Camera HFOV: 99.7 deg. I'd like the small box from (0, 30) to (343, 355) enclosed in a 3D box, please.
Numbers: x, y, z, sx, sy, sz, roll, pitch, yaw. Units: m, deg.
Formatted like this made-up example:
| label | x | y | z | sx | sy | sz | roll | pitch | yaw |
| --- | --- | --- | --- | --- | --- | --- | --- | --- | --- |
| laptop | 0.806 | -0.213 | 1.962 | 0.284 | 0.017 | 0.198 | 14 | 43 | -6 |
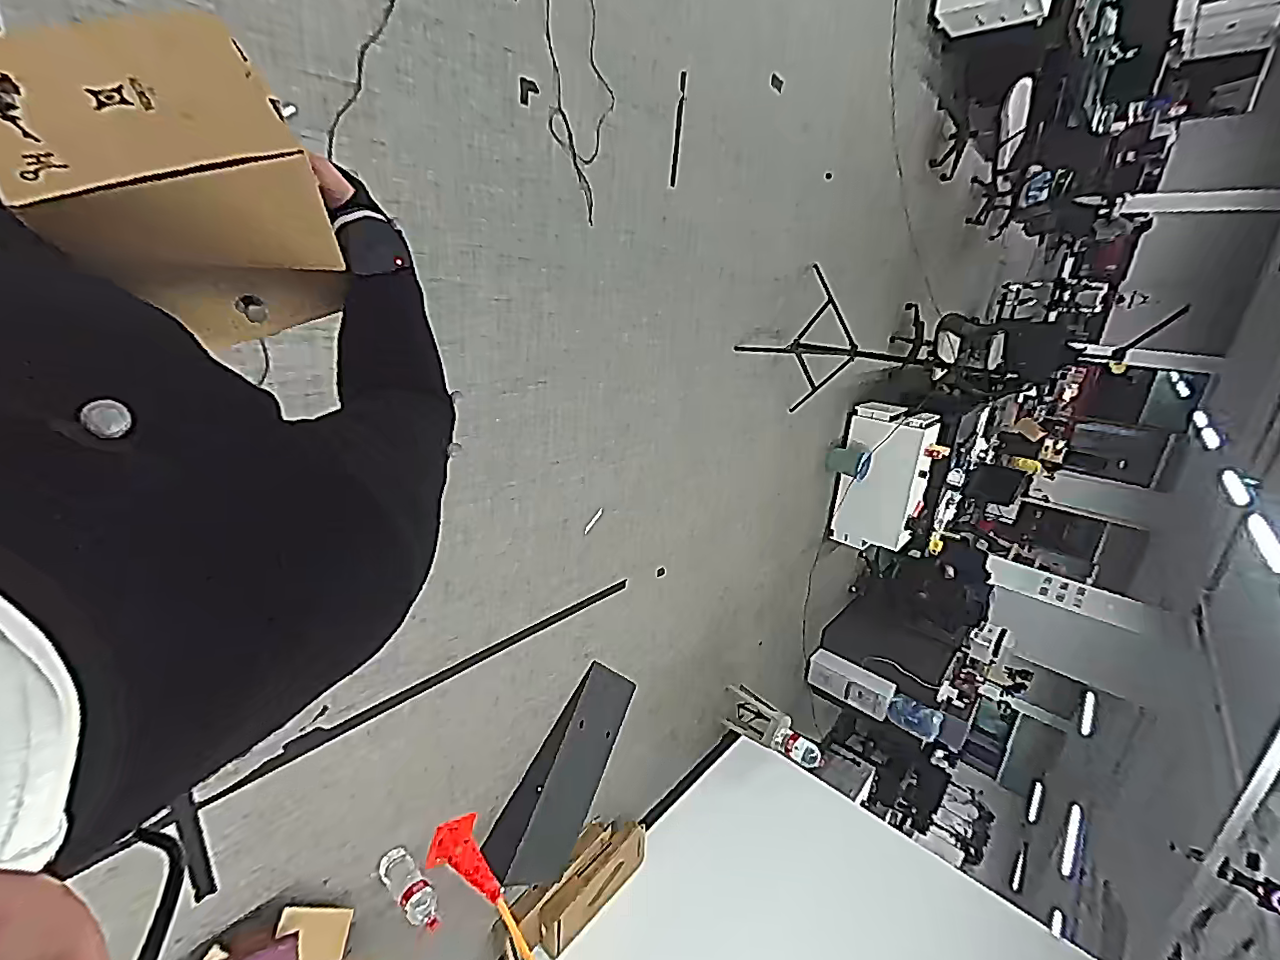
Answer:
| label | x | y | z | sx | sy | sz | roll | pitch | yaw |
| --- | --- | --- | --- | --- | --- | --- | --- | --- | --- |
| small box | -0.386 | -0.241 | 0.470 | 0.179 | 0.168 | 0.176 | -29 | 165 | -24 |
